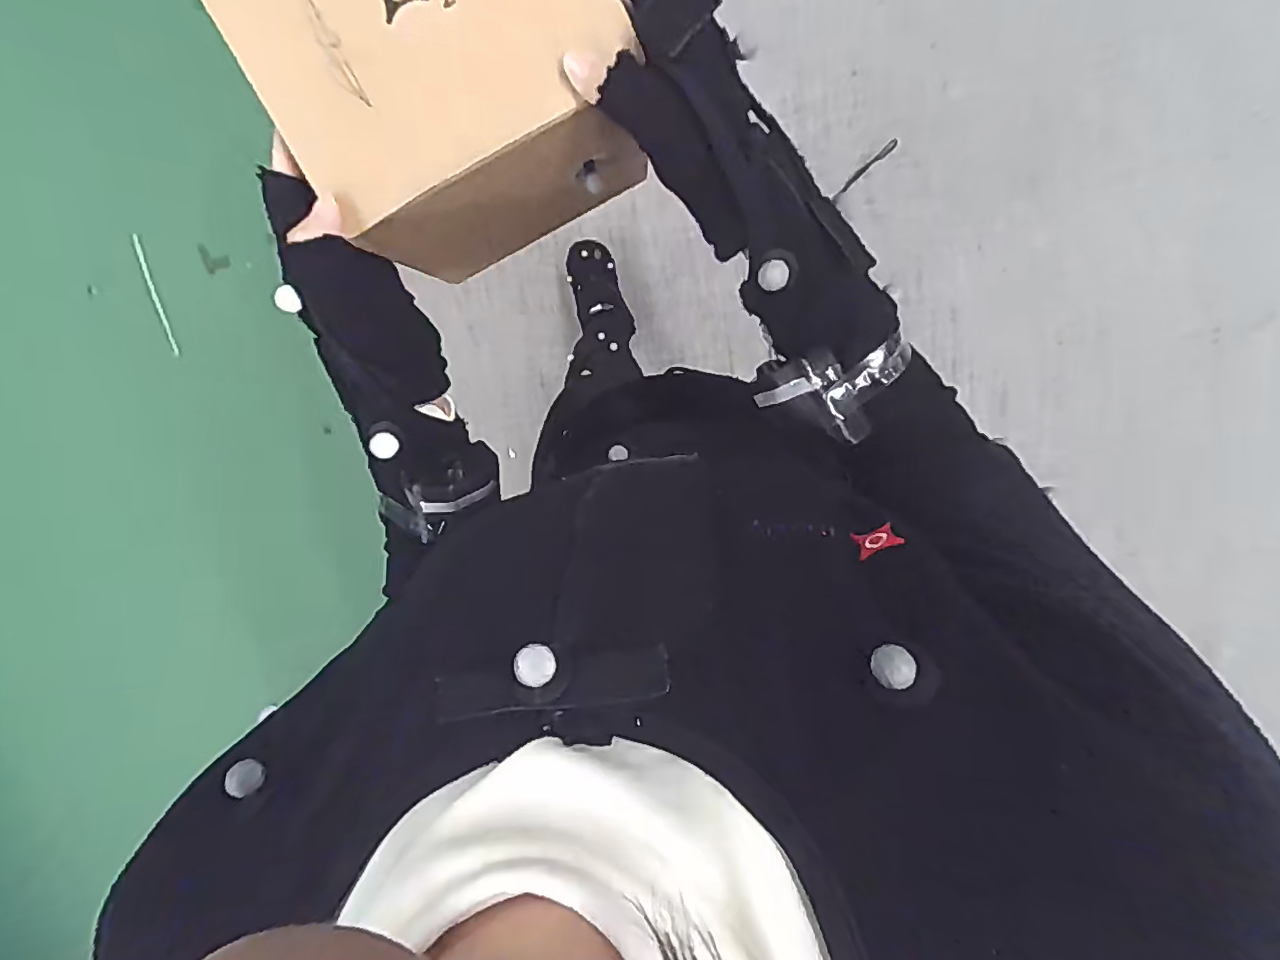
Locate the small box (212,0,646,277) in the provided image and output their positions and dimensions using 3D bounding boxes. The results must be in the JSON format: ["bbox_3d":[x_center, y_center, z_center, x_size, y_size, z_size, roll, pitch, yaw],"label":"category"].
[{"bbox_3d":[-0.108,-0.250,0.333,0.179,0.176,0.168,-26,99,7],"label":"small box"}]

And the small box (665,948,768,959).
[{"bbox_3d":[0.119,0.855,0.820,0.179,0.176,0.168,-9,105,9],"label":"small box"}]
